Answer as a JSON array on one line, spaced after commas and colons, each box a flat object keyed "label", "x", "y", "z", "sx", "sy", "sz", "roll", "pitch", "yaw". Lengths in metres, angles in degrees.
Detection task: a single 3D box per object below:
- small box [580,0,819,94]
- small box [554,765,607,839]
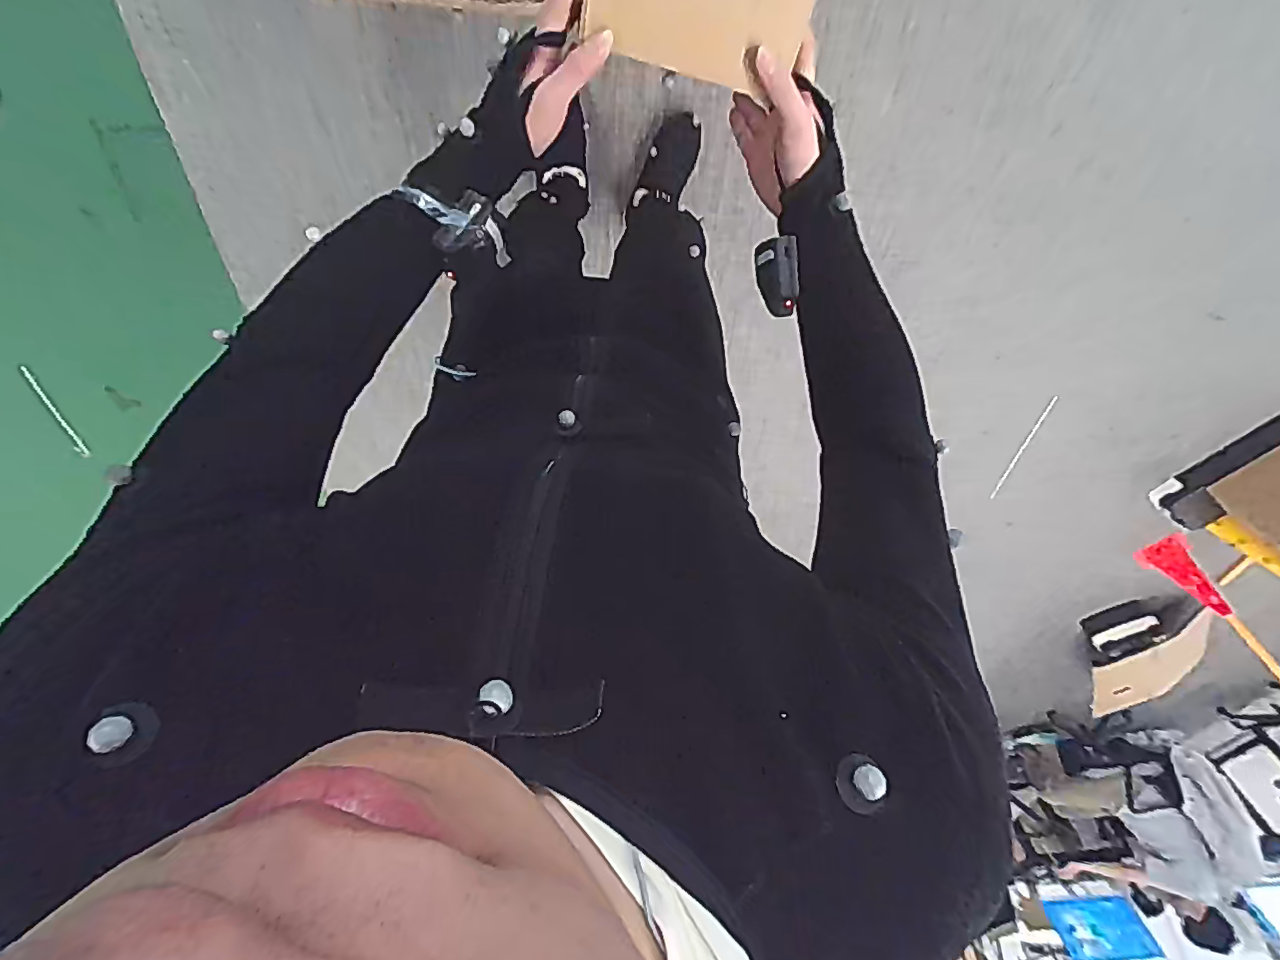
[{"label": "small box", "x": 0.050, "y": -0.445, "z": 0.441, "sx": 0.179, "sy": 0.176, "sz": 0.168, "roll": 6, "pitch": 131, "yaw": -15}, {"label": "small box", "x": -0.197, "y": 1.055, "z": 1.783, "sx": 0.168, "sy": 0.176, "sz": 0.179, "roll": -2, "pitch": 133, "yaw": -5}]
